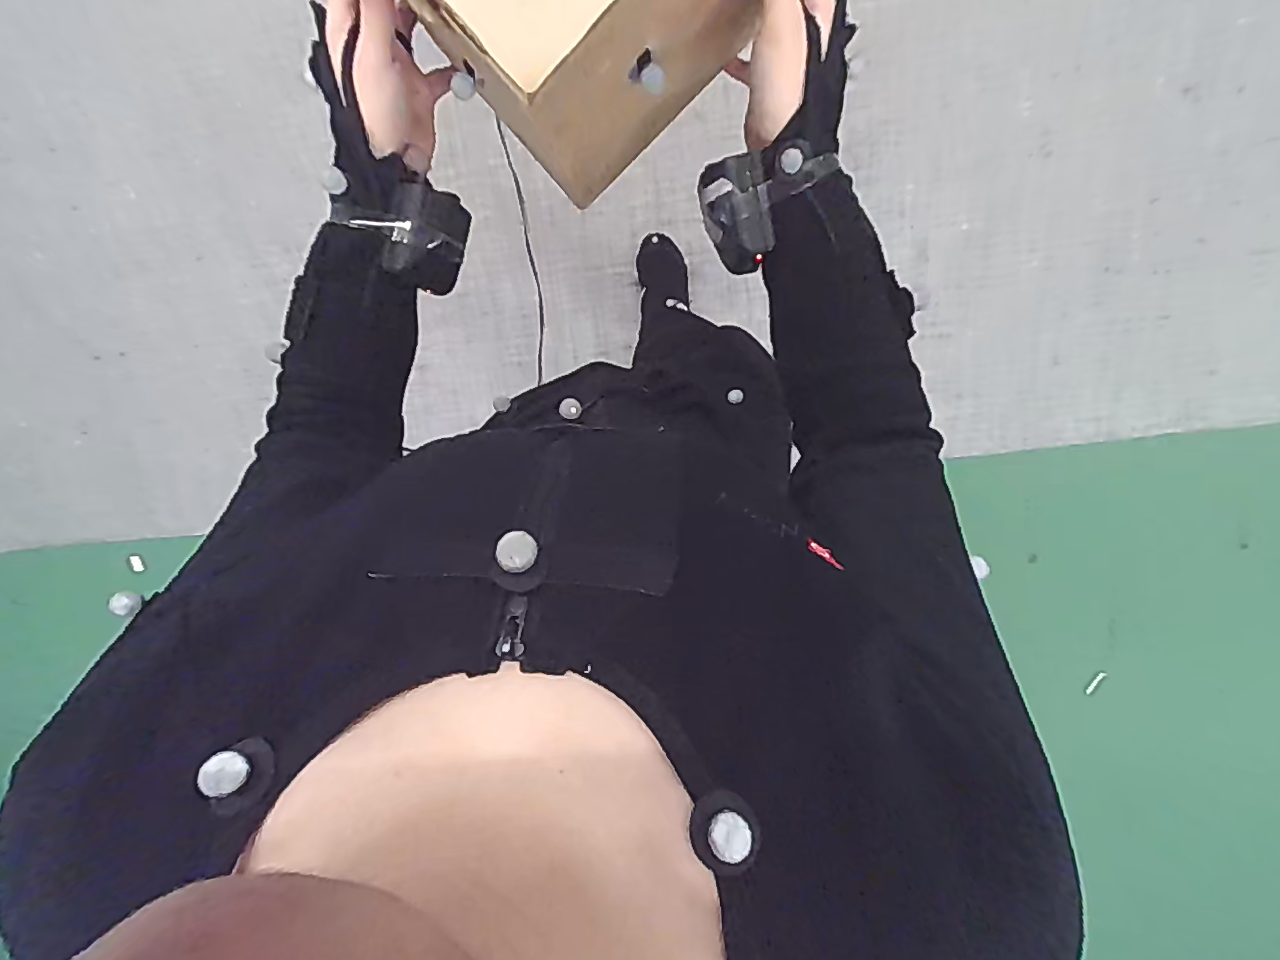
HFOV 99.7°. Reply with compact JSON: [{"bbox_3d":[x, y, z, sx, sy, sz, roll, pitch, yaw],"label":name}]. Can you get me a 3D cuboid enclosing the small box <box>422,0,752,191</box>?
[{"bbox_3d":[-0.037,-0.316,0.322,0.179,0.176,0.168,-42,95,10],"label":"small box"}]
